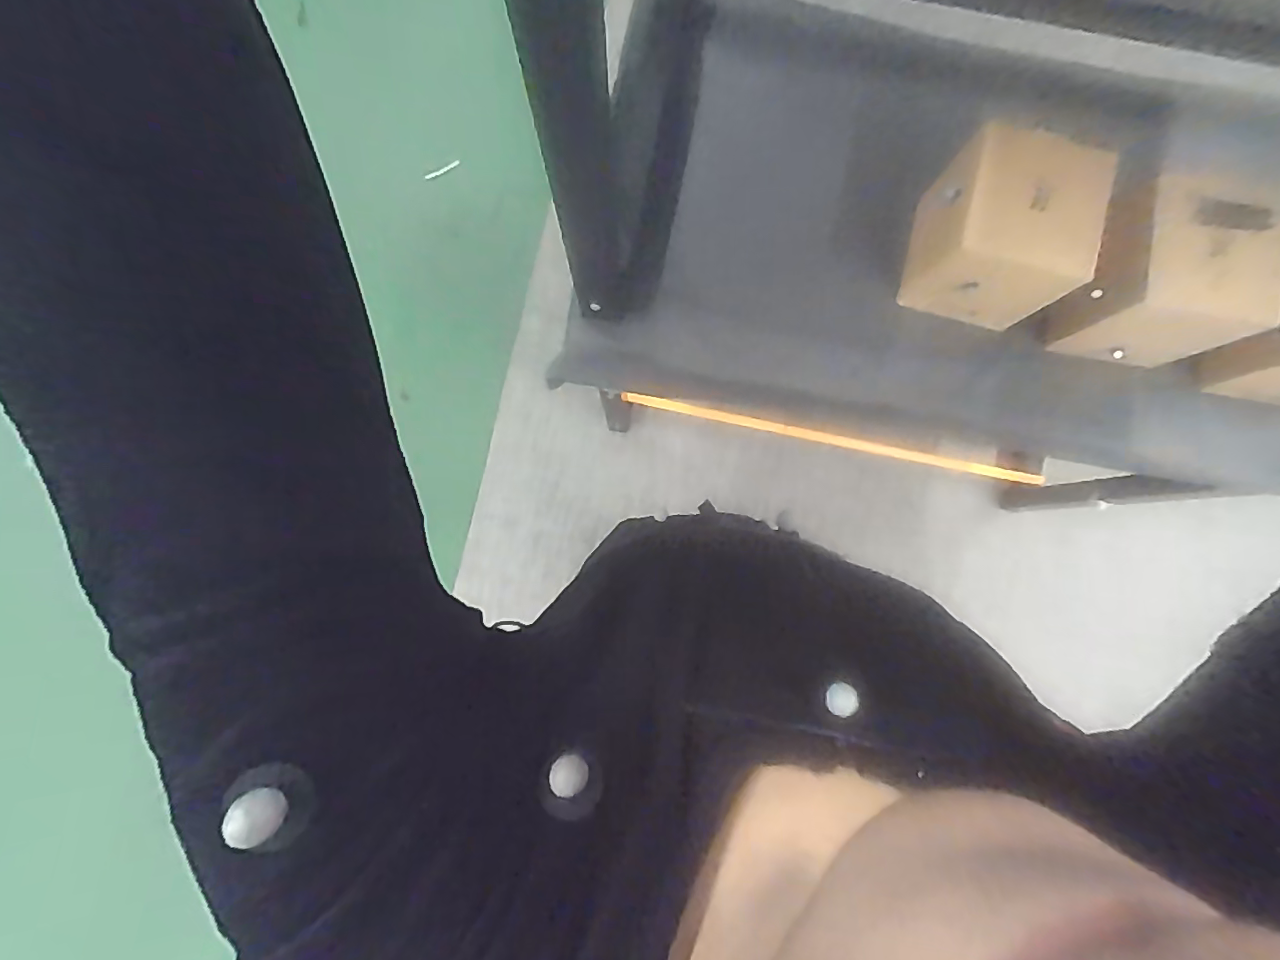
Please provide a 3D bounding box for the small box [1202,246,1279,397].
[{"bbox_3d":[0.923,-0.217,0.729,0.168,0.176,0.179,10,83,1],"label":"small box"}]

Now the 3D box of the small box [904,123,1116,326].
[{"bbox_3d":[0.492,-0.337,0.745,0.168,0.176,0.179,15,83,2],"label":"small box"}]
